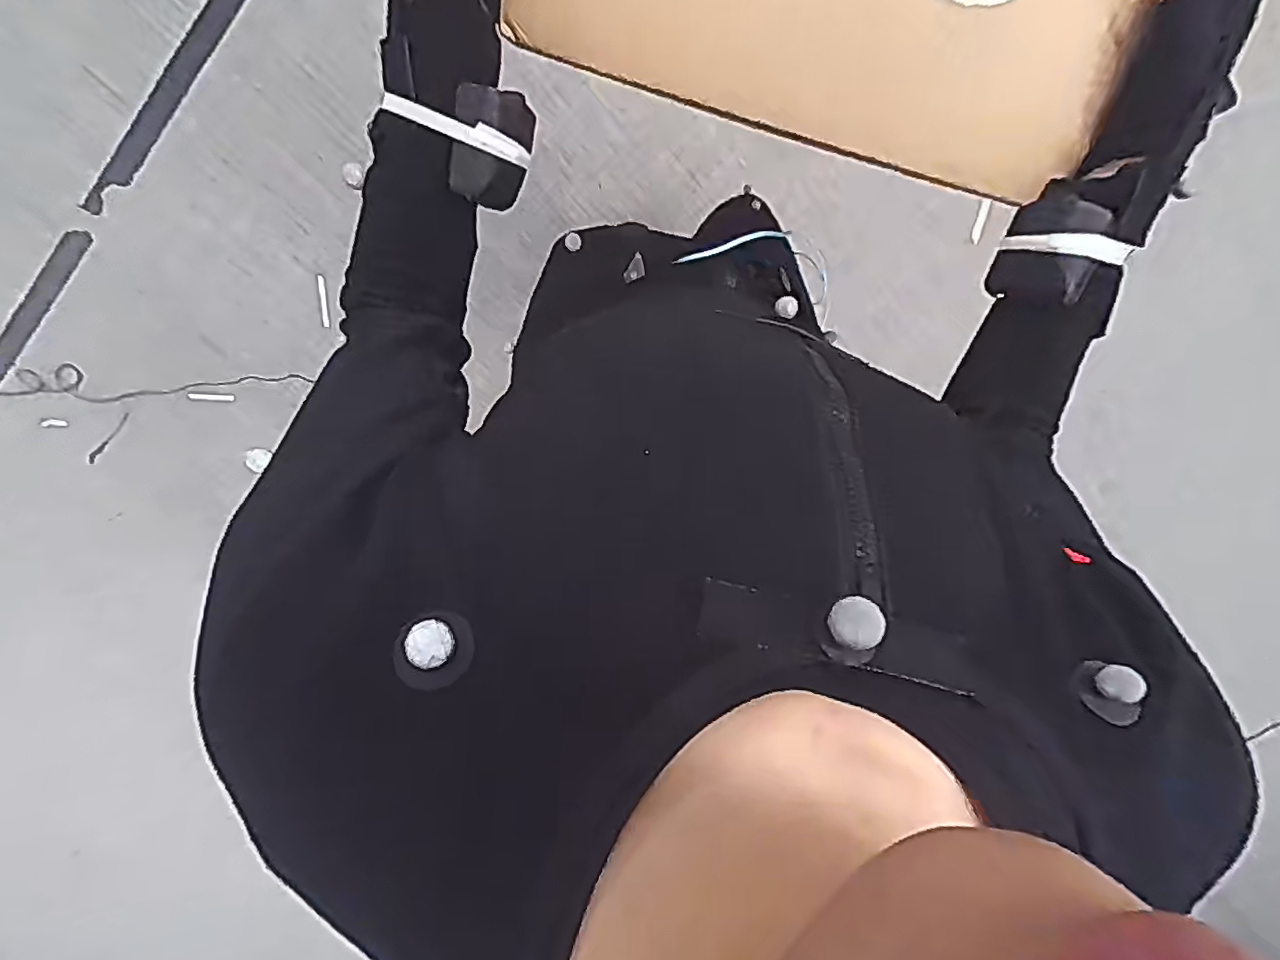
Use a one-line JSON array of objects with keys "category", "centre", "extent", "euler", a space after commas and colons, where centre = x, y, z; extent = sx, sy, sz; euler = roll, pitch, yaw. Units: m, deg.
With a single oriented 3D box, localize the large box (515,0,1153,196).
[{"category": "large box", "centre": [0.138, -0.458, 0.413], "extent": [0.408, 0.320, 0.320], "euler": [10, 127, -11]}]
